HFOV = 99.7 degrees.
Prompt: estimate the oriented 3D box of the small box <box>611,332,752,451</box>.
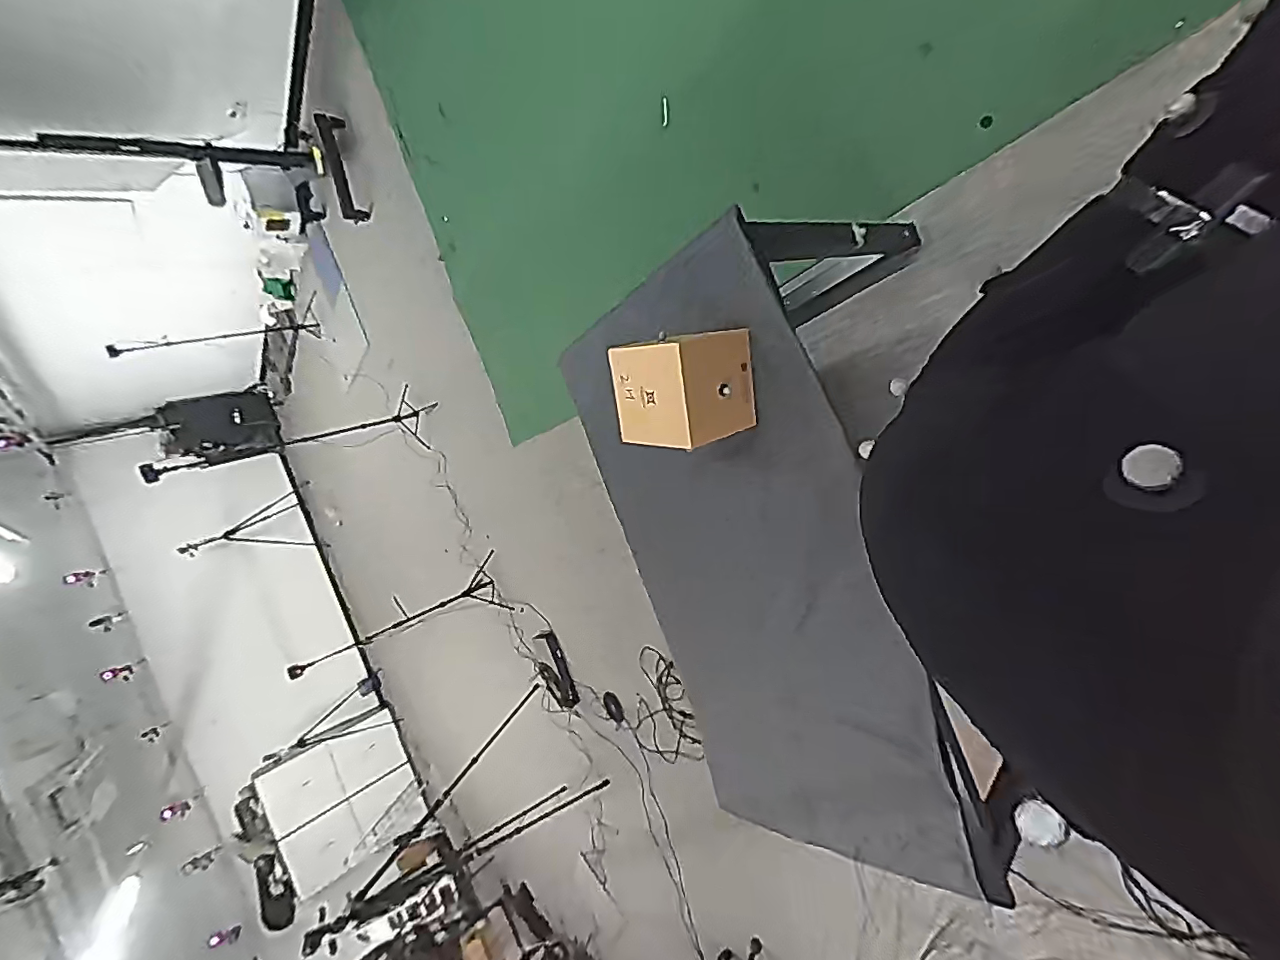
[{"bbox_3d":[0.078,-0.155,0.926,0.179,0.176,0.168,11,115,49],"label":"small box"}]
